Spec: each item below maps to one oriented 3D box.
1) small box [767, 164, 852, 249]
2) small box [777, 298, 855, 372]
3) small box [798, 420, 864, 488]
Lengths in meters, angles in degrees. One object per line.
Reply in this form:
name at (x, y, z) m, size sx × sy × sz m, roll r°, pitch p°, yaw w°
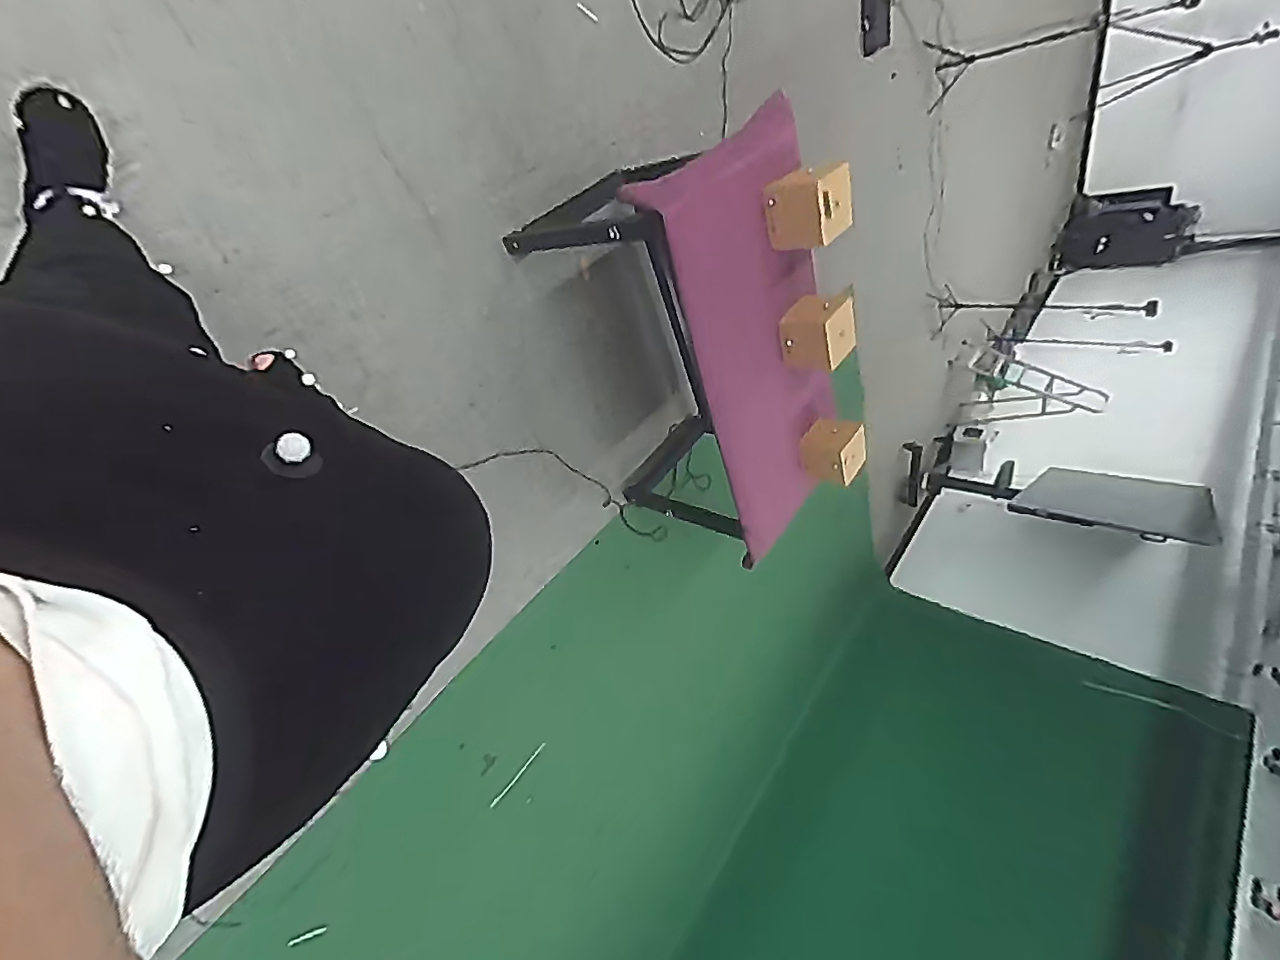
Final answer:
small box at (0.468, -0.759, 1.512) m, size 0.179 × 0.176 × 0.168 m, roll -43°, pitch 131°, yaw -29°
small box at (0.558, -0.463, 1.713) m, size 0.179 × 0.176 × 0.168 m, roll -44°, pitch 130°, yaw -28°
small box at (0.700, -0.102, 1.982) m, size 0.179 × 0.176 × 0.168 m, roll -46°, pitch 131°, yaw -28°
